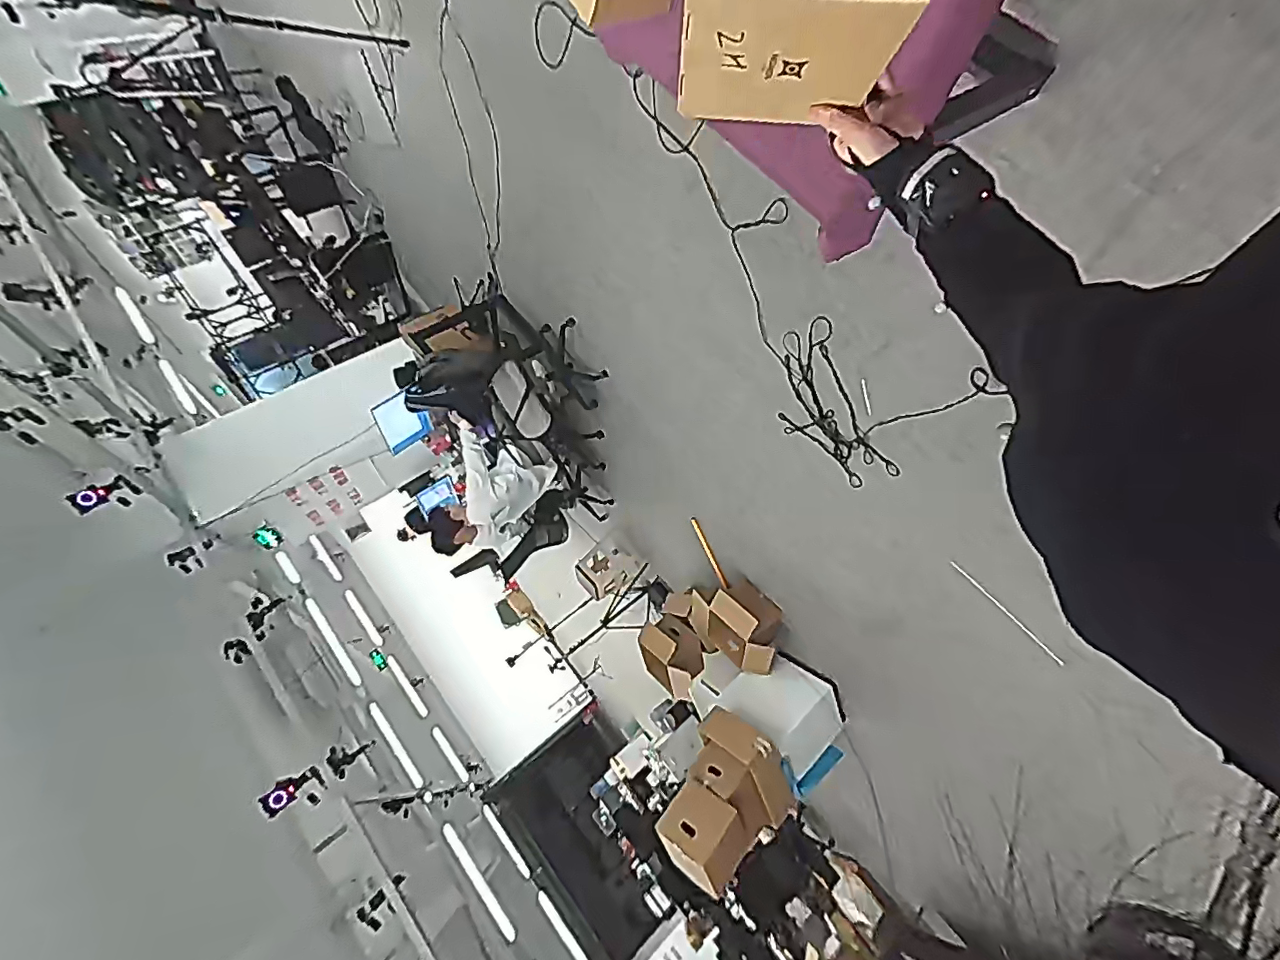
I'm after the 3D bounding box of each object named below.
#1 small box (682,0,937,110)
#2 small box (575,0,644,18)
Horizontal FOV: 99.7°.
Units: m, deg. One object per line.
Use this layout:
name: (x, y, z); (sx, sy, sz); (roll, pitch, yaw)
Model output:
small box: (0.132, -0.439, 0.441); (0.168, 0.179, 0.176); (-91, 4, -83)
small box: (-0.038, -0.811, 0.756); (0.168, 0.176, 0.179); (51, 156, 3)
